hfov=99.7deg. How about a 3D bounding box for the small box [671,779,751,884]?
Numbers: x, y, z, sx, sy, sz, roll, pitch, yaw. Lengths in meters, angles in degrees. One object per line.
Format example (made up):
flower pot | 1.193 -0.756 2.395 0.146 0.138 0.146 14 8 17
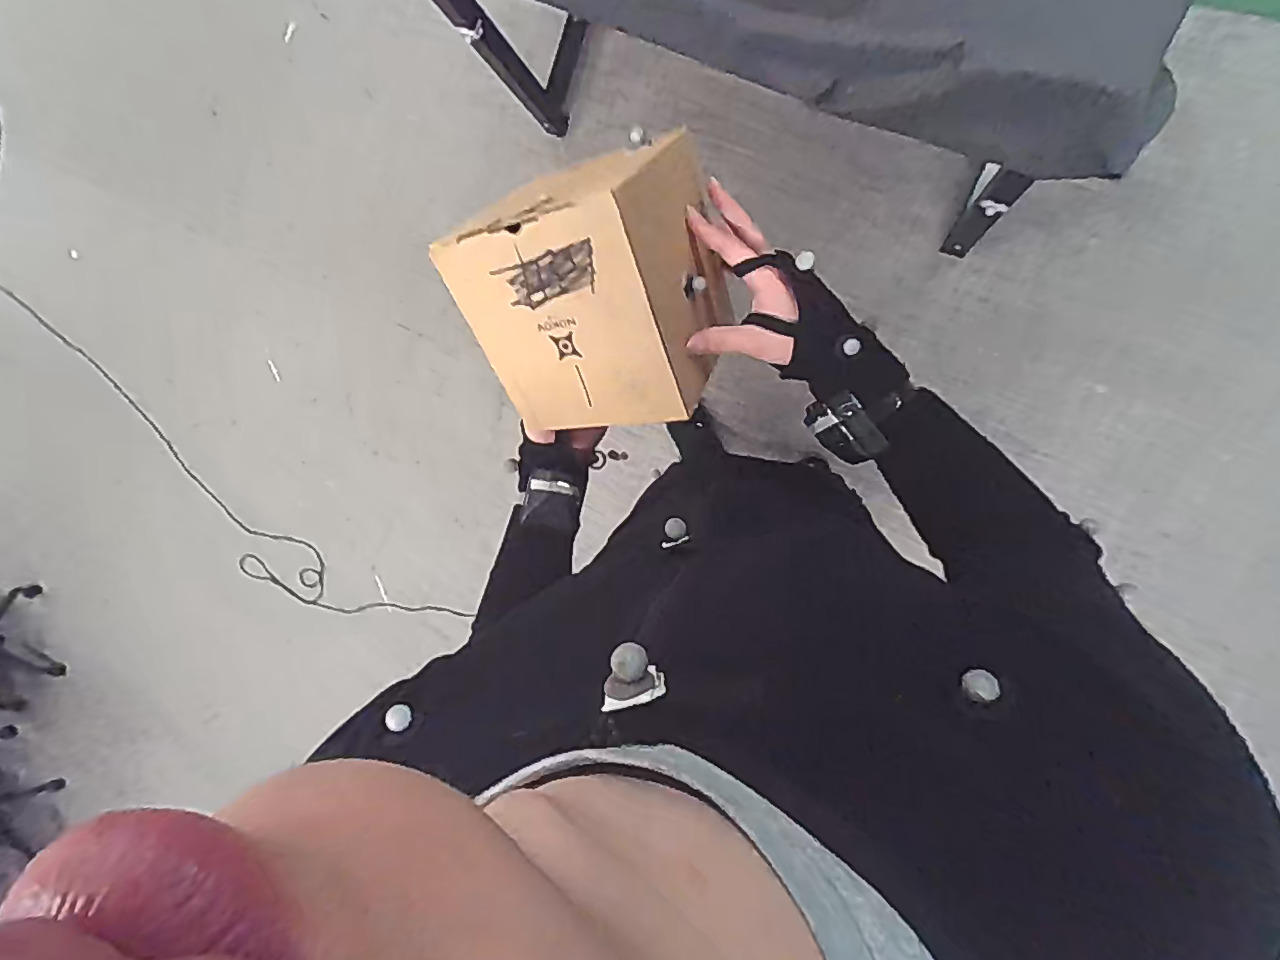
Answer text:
small box | 0.213 1.012 1.565 0.168 0.176 0.179 -24 88 16
